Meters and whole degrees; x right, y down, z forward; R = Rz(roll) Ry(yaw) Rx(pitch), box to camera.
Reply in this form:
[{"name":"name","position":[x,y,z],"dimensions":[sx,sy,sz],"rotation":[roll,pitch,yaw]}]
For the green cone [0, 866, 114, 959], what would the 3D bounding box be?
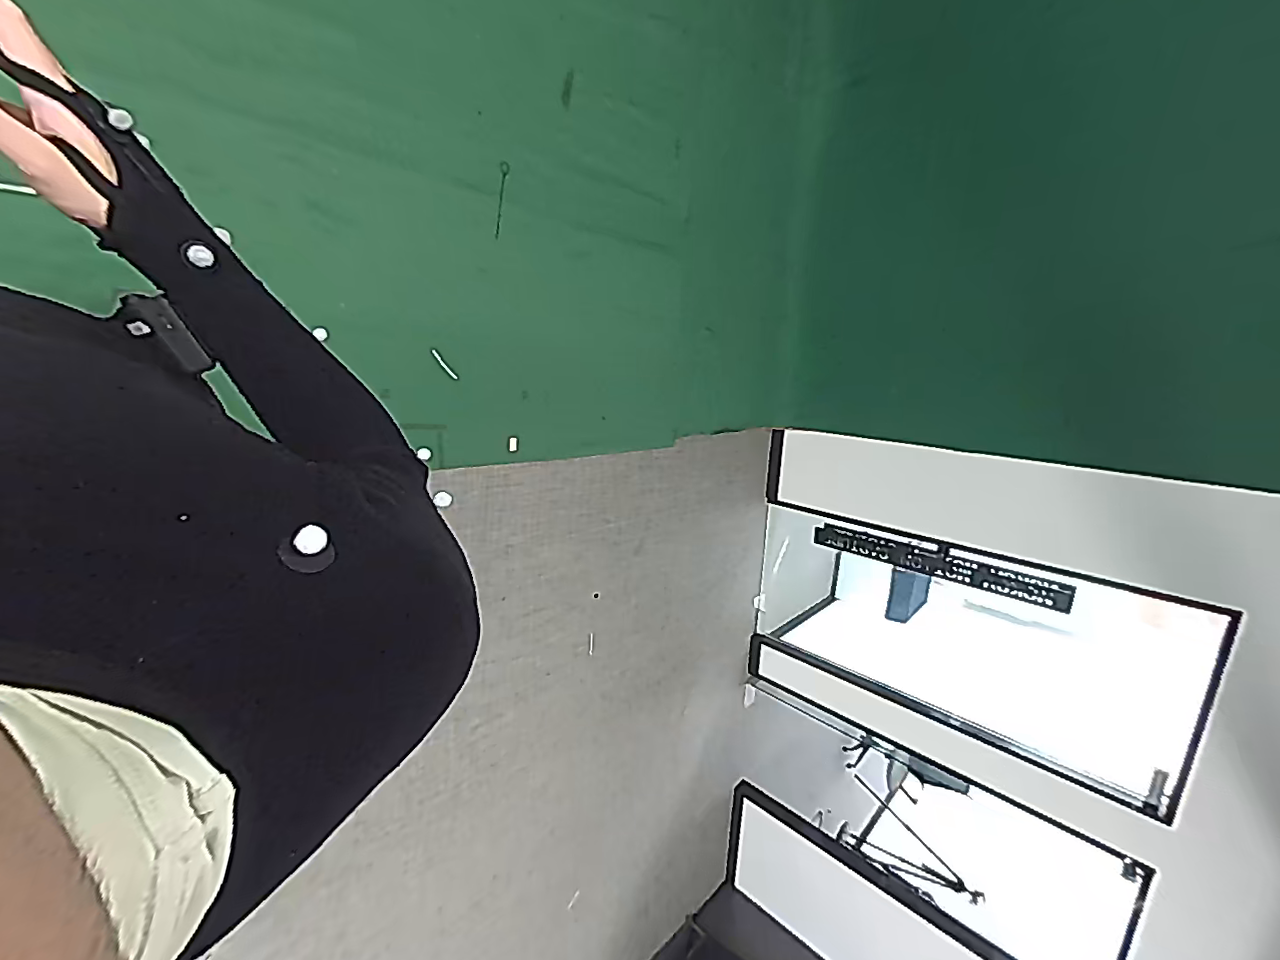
[{"name":"green cone","position":[-1.242,1.053,1.133],"dimensions":[0.202,0.368,0.200],"rotation":[-9,106,-45]}]
